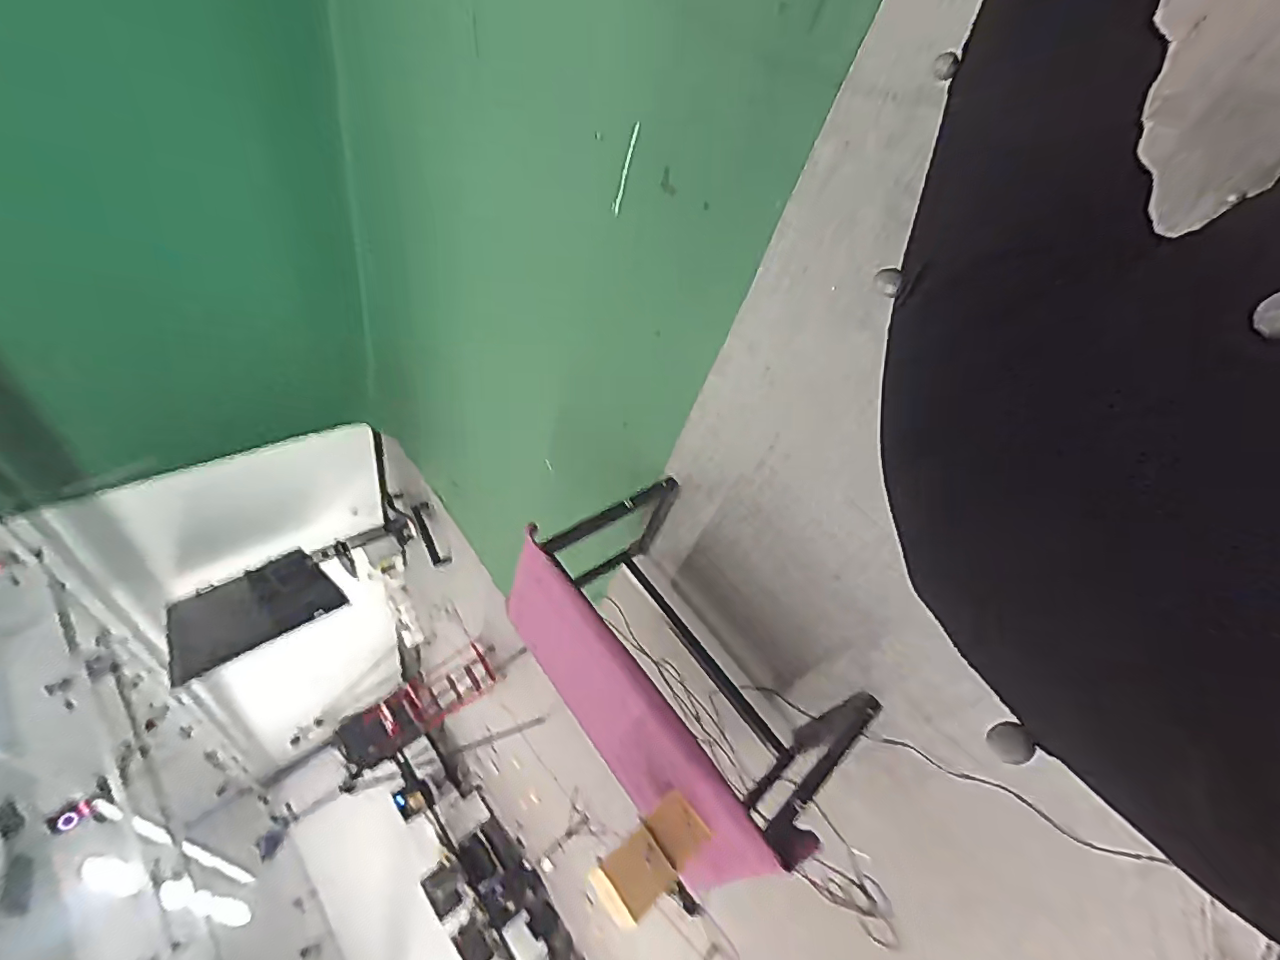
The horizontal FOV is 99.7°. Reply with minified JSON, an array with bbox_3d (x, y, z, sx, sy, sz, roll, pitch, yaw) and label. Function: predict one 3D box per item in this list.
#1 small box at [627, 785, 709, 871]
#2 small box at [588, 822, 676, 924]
[{"bbox_3d":[0.089,1.095,1.686,0.168,0.176,0.179,46,139,23],"label":"small box"},{"bbox_3d":[-0.022,1.138,1.570,0.168,0.176,0.179,47,139,22],"label":"small box"}]
